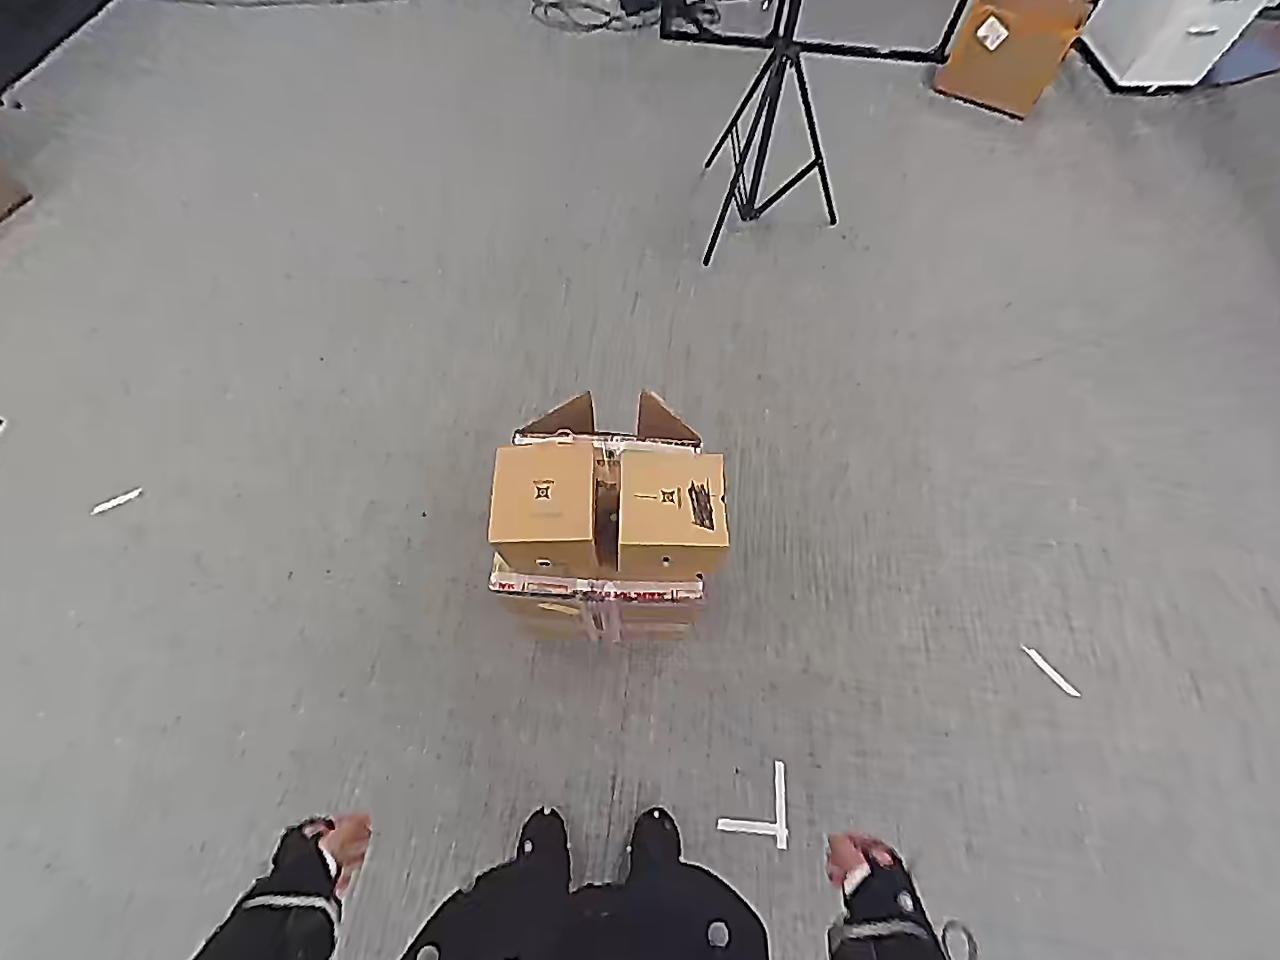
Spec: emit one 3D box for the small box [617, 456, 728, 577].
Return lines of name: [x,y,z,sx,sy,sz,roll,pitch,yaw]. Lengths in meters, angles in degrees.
small box: [0.050,0.069,0.956,0.179,0.176,0.168,1,65,-2]

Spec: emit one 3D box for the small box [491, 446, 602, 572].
small box: [-0.157,0.056,0.959,0.168,0.176,0.179,-3,67,0]
